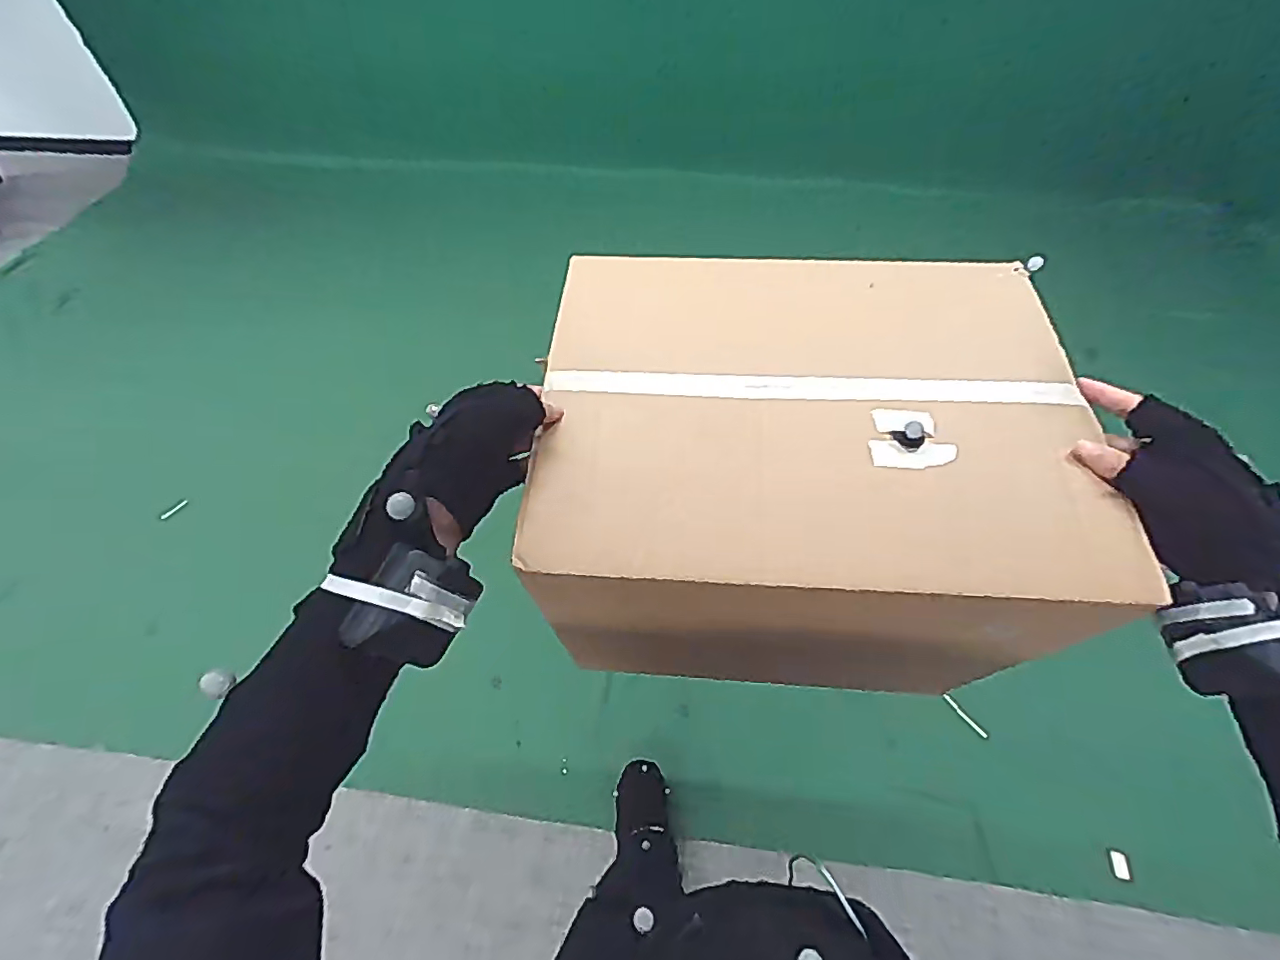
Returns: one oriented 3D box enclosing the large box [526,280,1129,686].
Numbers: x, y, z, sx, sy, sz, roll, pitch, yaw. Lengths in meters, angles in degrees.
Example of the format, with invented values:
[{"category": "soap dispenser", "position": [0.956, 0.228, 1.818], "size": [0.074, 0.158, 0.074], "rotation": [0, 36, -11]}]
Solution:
[{"category": "large box", "position": [0.129, 0.019, 0.560], "size": [0.408, 0.320, 0.320], "rotation": [2, 60, 4]}]
